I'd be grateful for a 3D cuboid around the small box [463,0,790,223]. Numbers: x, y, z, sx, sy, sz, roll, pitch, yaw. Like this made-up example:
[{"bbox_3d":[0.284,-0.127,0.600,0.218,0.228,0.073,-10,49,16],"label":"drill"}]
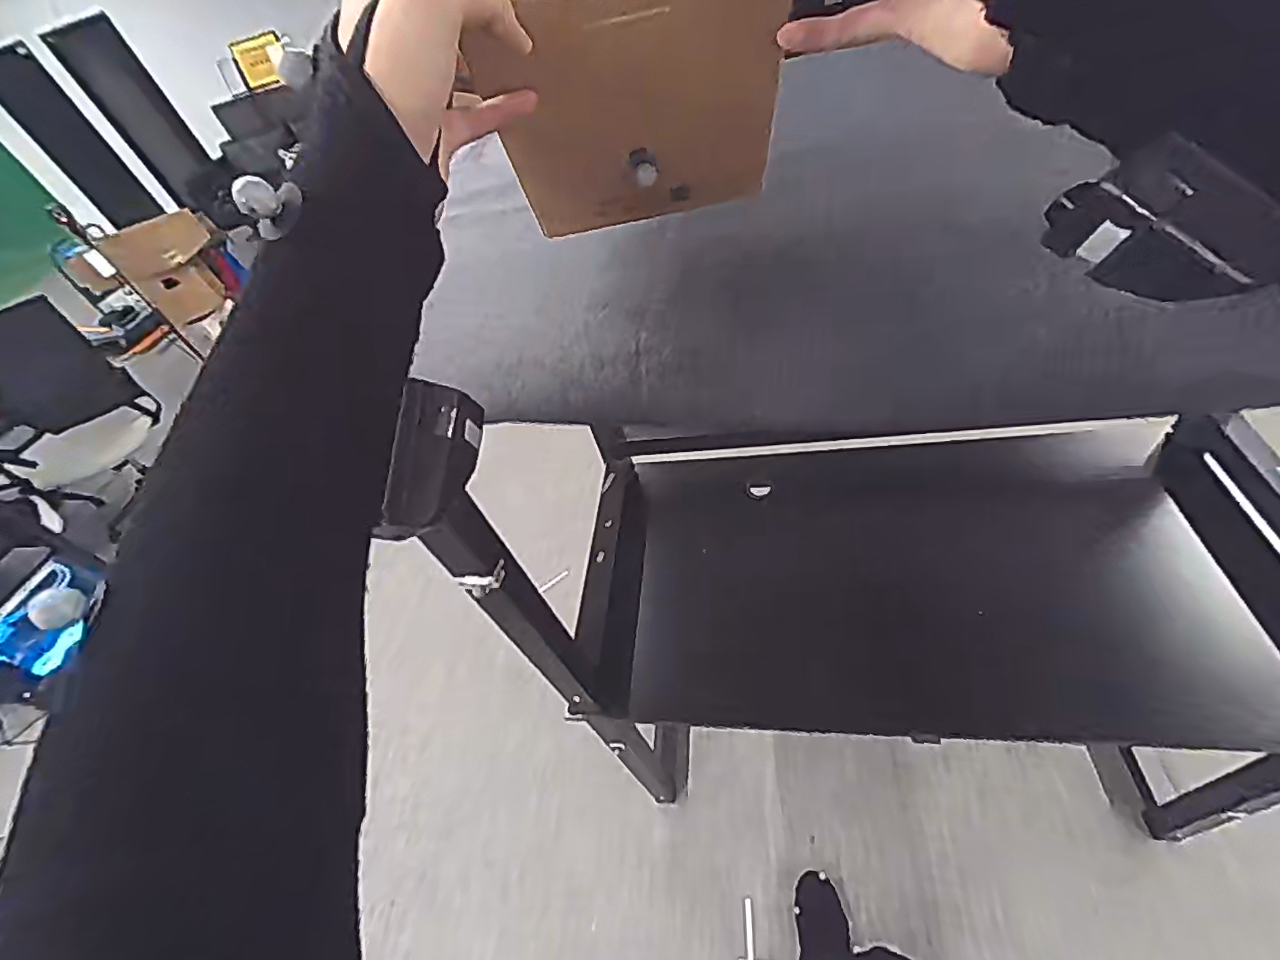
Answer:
[{"bbox_3d":[-0.009,-0.304,0.346,0.168,0.176,0.179,-9,77,5],"label":"small box"}]
